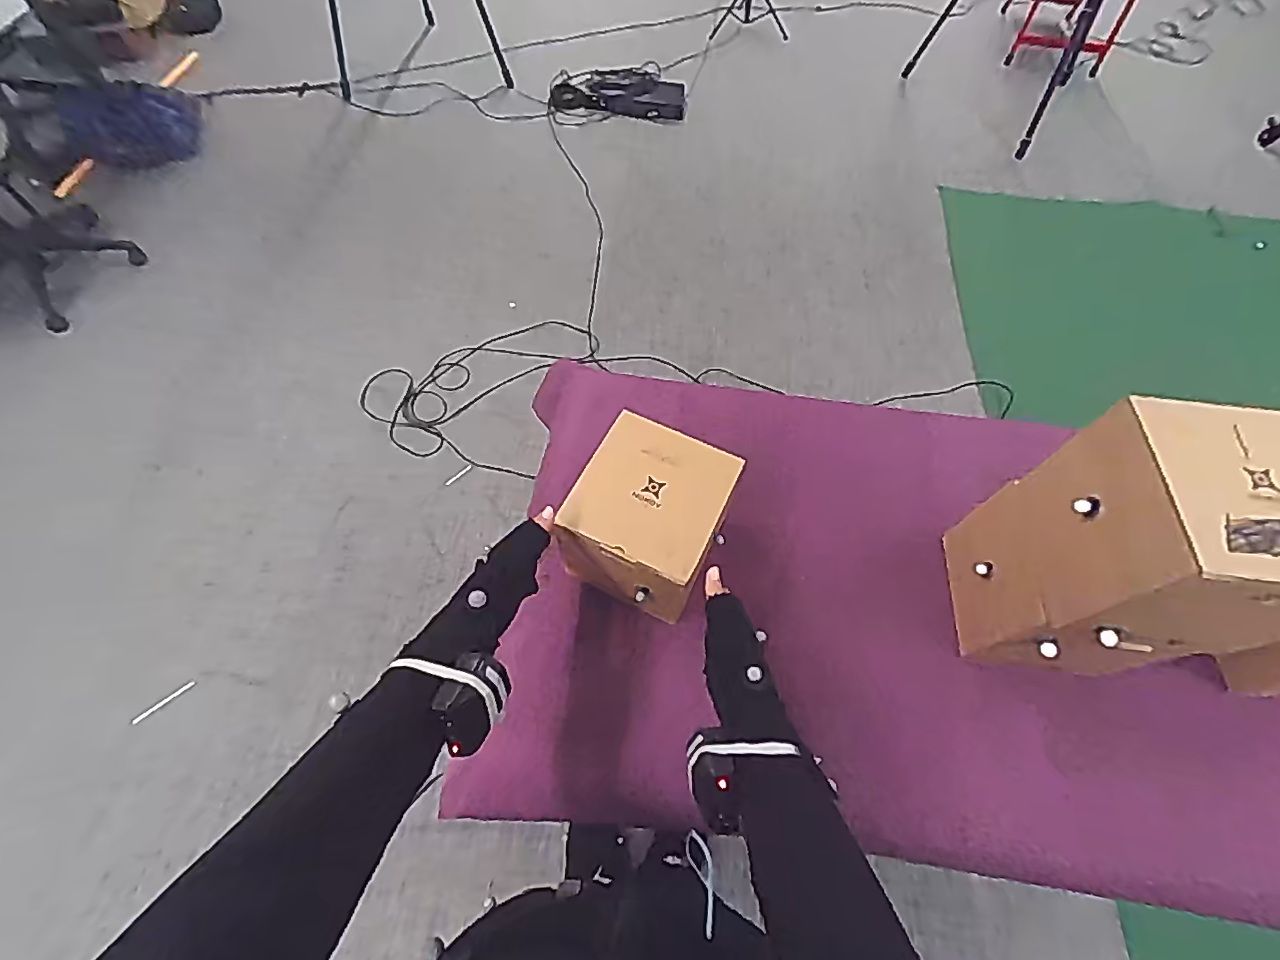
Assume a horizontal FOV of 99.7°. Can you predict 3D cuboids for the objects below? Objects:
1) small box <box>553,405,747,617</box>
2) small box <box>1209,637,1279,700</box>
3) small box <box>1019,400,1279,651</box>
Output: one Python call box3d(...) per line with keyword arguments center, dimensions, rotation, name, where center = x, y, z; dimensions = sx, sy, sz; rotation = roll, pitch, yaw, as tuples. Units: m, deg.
box3d(center=(0.014, 0.046, 0.673), dimensions=(0.168, 0.176, 0.179), rotation=(24, 63, 11), name="small box")
box3d(center=(0.822, 0.161, 0.646), dimensions=(0.168, 0.176, 0.179), rotation=(4, 61, 2), name="small box")
box3d(center=(0.506, 0.051, 0.512), dimensions=(0.168, 0.176, 0.179), rotation=(7, 59, 2), name="small box")
